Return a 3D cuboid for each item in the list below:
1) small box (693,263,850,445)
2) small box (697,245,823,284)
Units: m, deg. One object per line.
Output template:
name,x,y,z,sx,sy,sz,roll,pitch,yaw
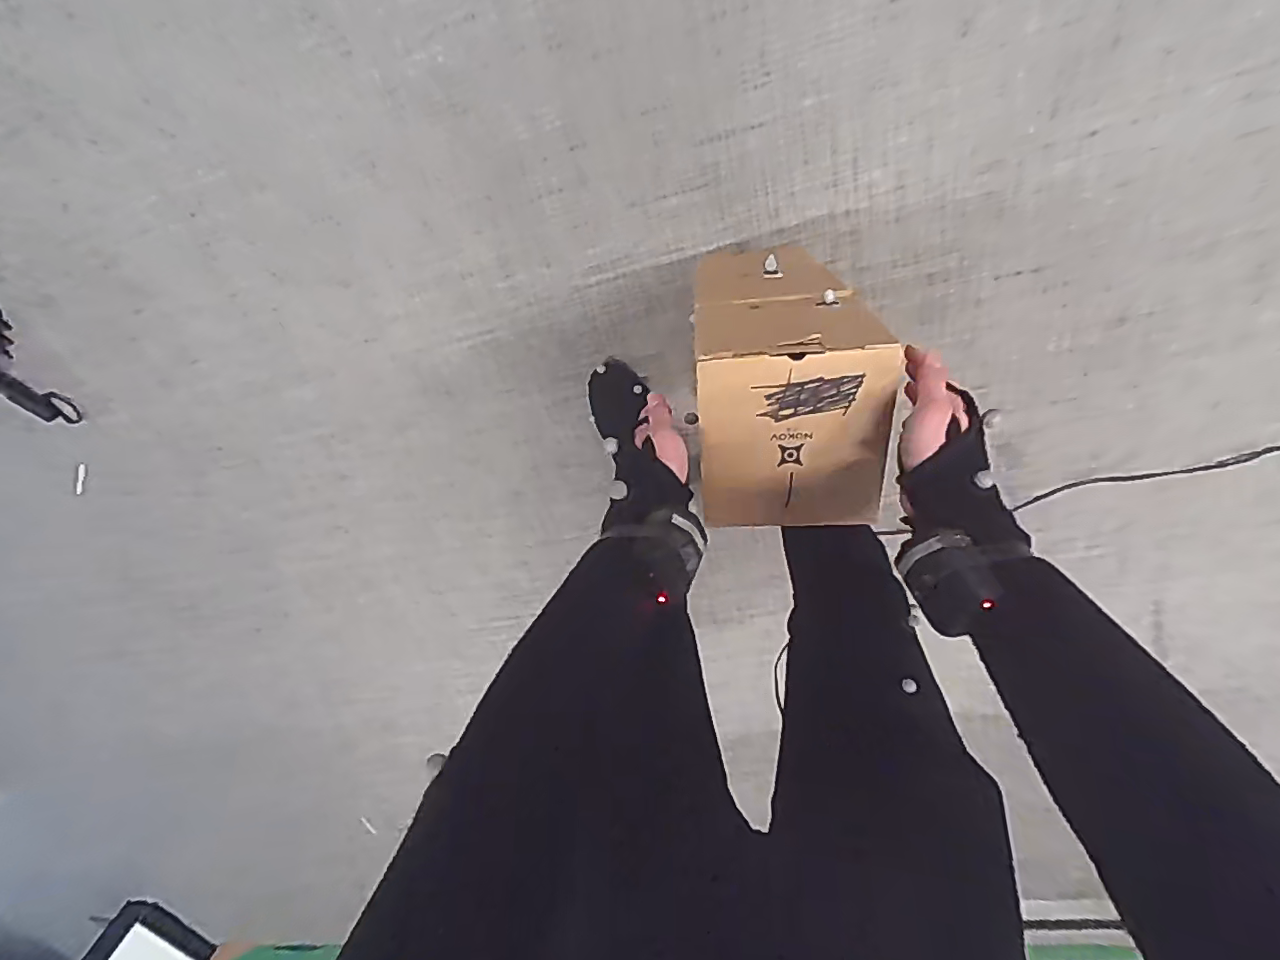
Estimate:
small box,0.157,-0.161,0.681,0.168,0.176,0.179,-3,120,9
small box,0.175,-0.245,0.820,0.168,0.176,0.179,-2,121,9
